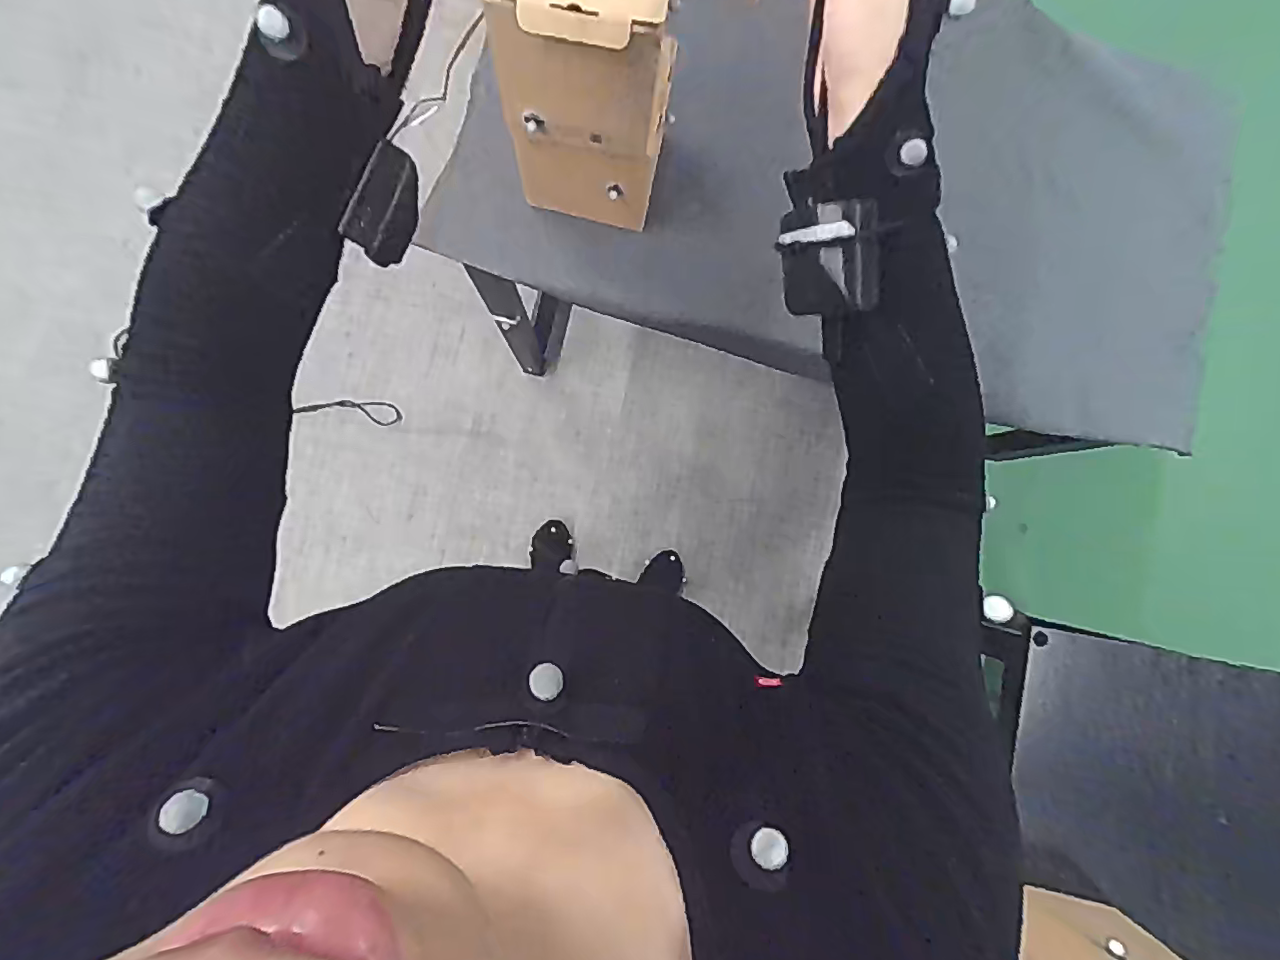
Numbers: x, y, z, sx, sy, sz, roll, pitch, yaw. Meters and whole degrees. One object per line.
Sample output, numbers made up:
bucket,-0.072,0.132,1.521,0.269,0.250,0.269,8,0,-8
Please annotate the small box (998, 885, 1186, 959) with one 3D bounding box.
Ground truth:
small box,0.600,0.672,0.696,0.179,0.176,0.168,16,86,-2

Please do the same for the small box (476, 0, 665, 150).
small box,-0.060,-0.487,0.566,0.168,0.176,0.179,7,83,-4

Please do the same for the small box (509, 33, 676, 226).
small box,-0.061,-0.473,0.730,0.179,0.176,0.168,11,84,-2
